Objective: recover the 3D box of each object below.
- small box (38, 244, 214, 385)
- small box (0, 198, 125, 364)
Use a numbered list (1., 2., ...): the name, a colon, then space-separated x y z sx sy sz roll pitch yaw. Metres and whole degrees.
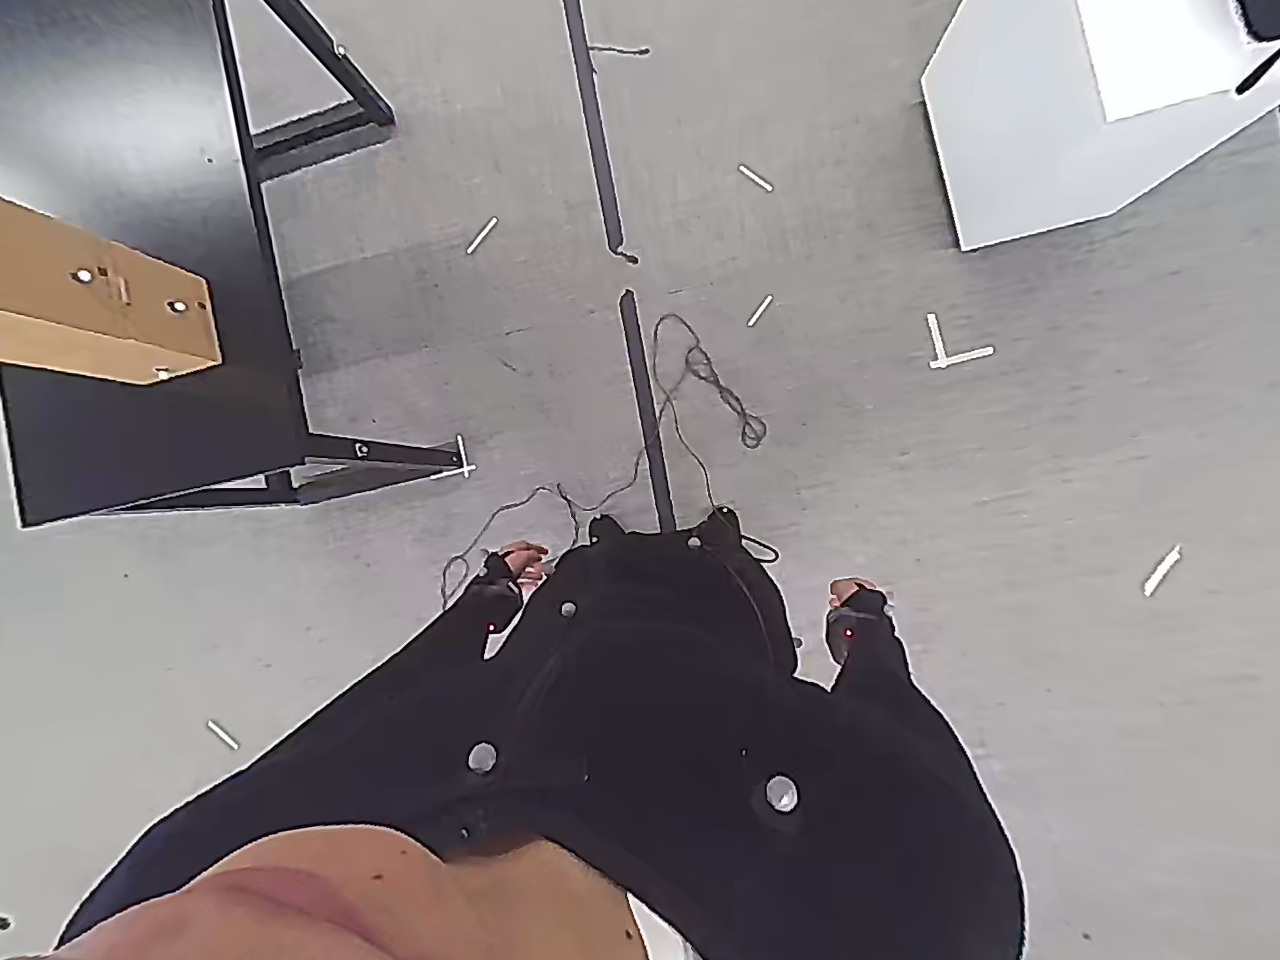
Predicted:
1. small box: -0.882 -0.274 0.932 0.179 0.176 0.168 -14 88 6
2. small box: -0.903 -0.275 0.768 0.179 0.176 0.168 -13 89 6
